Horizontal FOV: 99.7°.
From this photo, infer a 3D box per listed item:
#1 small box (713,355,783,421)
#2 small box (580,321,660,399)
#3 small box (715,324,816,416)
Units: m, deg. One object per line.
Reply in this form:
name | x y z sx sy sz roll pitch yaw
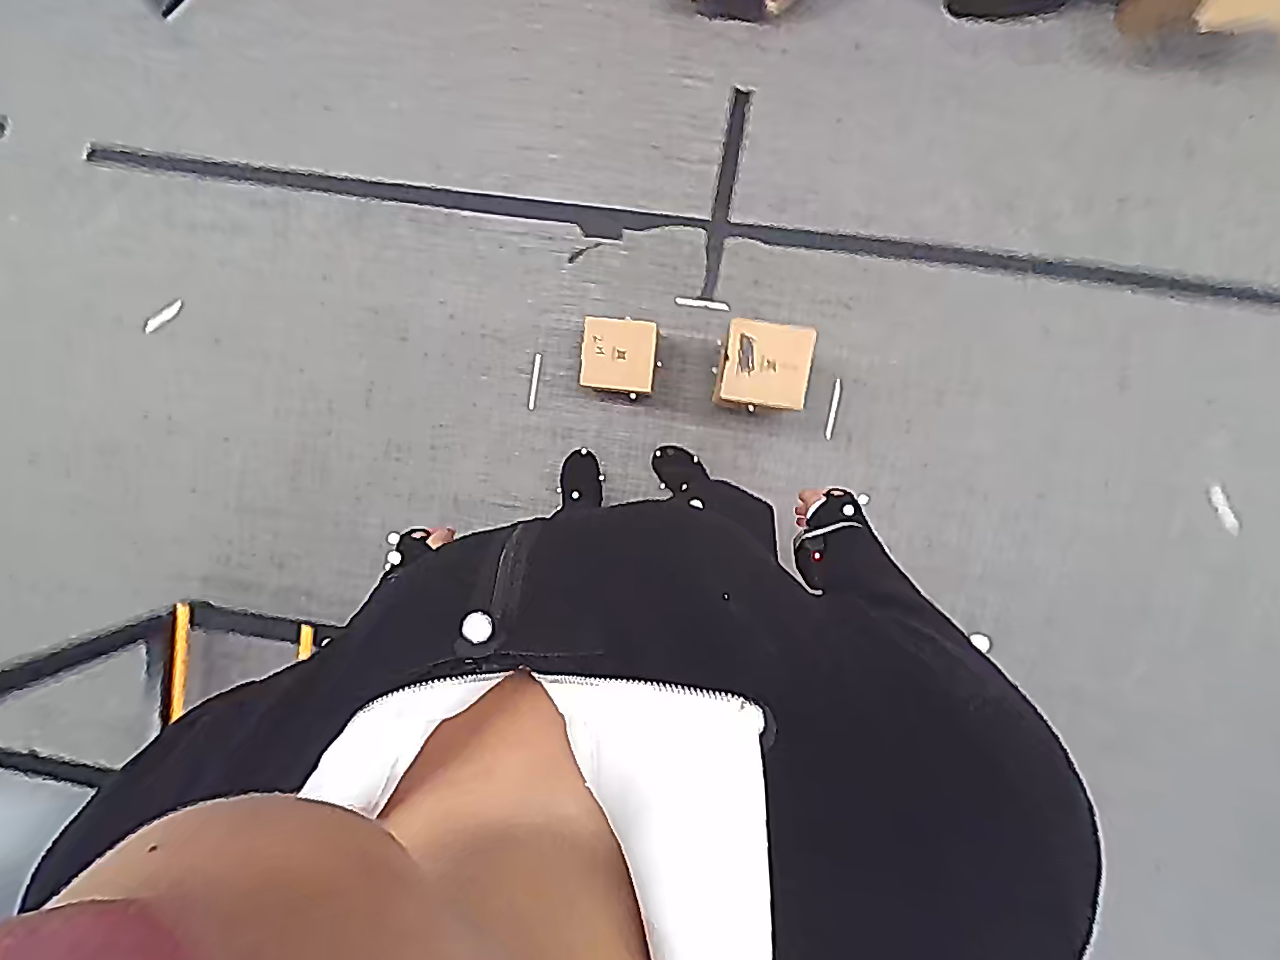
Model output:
small box | 0.281 -0.250 1.355 0.168 0.176 0.179 11 97 3
small box | -0.044 -0.298 1.370 0.179 0.176 0.168 7 96 3
small box | 0.266 -0.234 1.191 0.179 0.176 0.168 10 96 2
